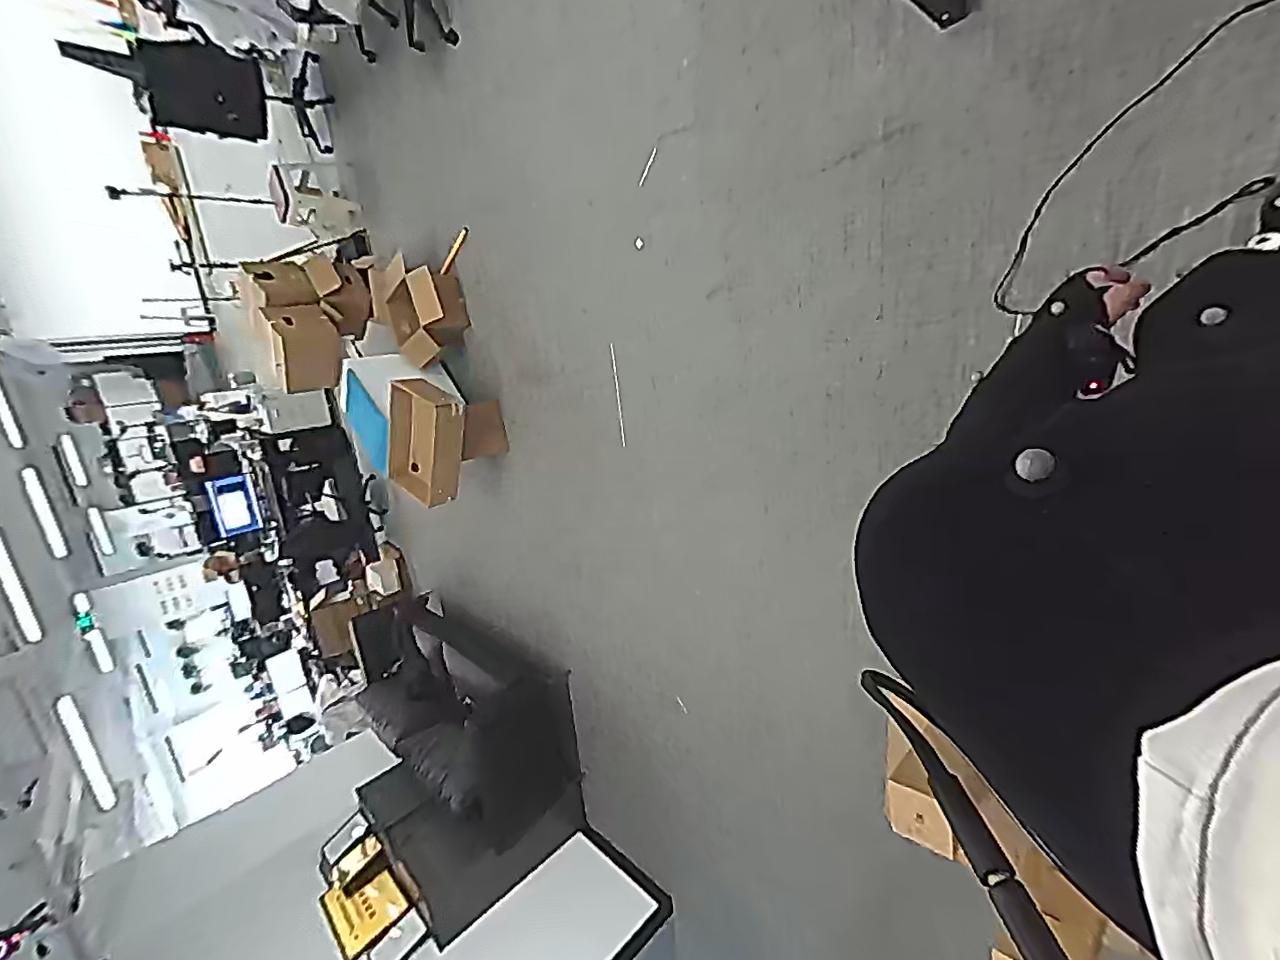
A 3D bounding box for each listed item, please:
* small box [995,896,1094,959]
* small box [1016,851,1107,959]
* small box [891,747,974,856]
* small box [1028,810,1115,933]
[{"bbox_3d":[0.955,1.150,1.278,0.168,0.176,0.179,6,109,46],"label":"small box"},{"bbox_3d":[1.073,1.108,1.380,0.168,0.176,0.179,5,109,46],"label":"small box"},{"bbox_3d":[0.839,0.908,1.549,0.168,0.176,0.179,3,106,48],"label":"small box"},{"bbox_3d":[1.189,1.066,1.487,0.168,0.176,0.179,1,105,47],"label":"small box"}]
